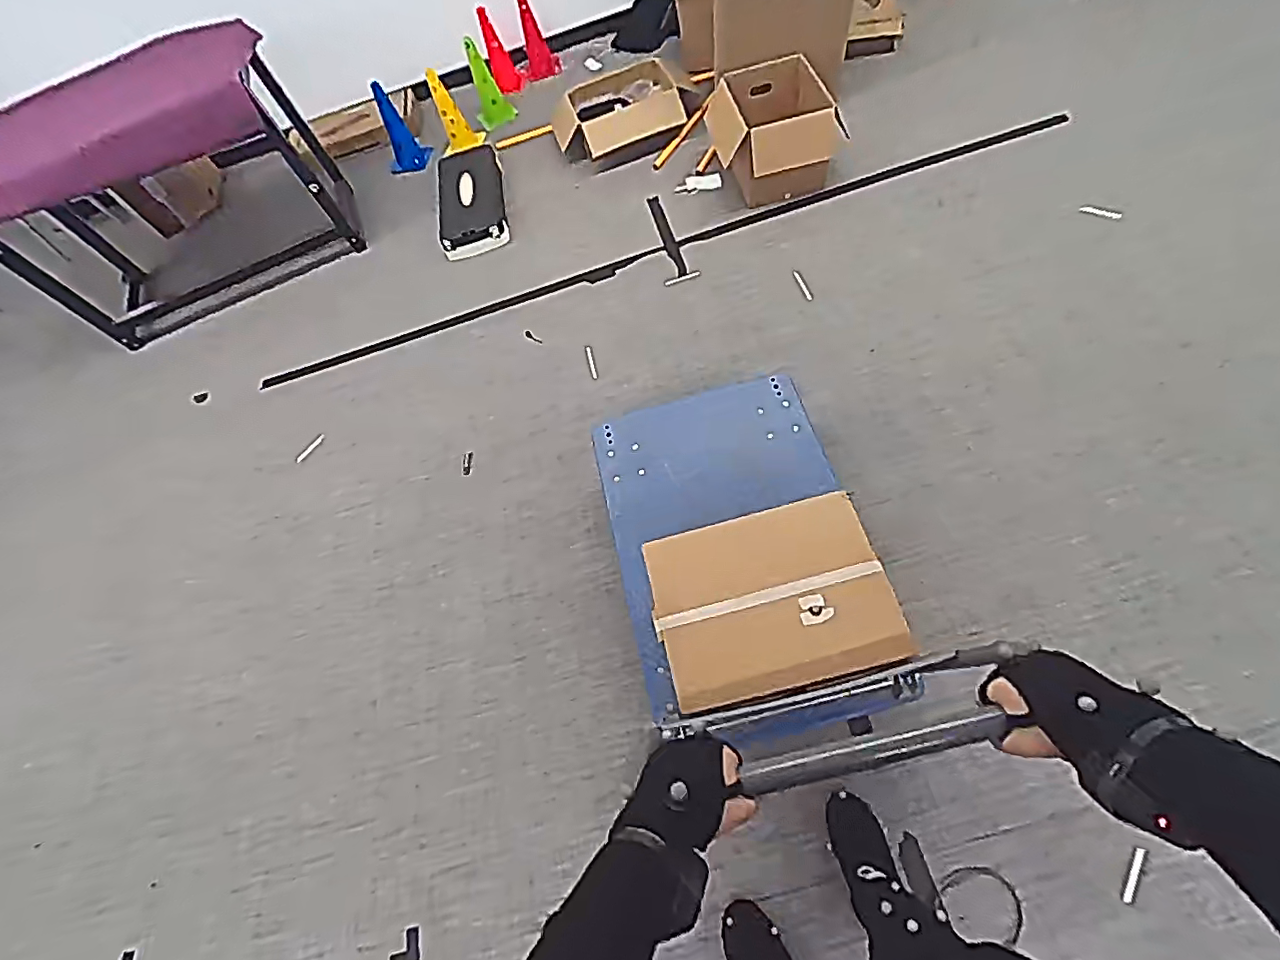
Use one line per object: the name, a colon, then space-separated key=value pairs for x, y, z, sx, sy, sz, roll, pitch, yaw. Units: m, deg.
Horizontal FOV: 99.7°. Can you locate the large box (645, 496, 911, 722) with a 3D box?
large box: x=0.255 y=0.280 z=1.111 sx=0.408 sy=0.320 sz=0.320 roll=-15 pitch=63 yaw=2
